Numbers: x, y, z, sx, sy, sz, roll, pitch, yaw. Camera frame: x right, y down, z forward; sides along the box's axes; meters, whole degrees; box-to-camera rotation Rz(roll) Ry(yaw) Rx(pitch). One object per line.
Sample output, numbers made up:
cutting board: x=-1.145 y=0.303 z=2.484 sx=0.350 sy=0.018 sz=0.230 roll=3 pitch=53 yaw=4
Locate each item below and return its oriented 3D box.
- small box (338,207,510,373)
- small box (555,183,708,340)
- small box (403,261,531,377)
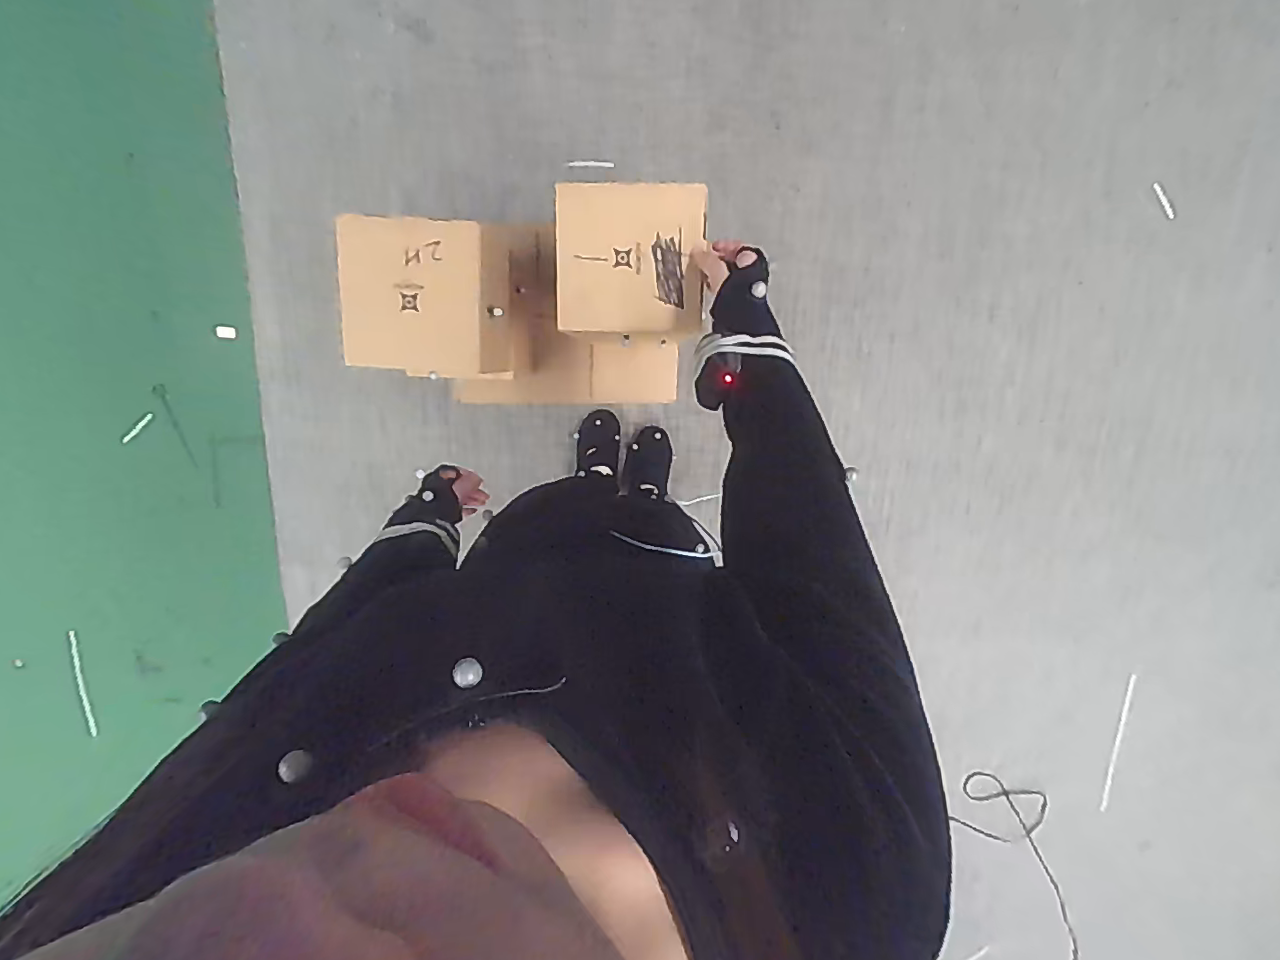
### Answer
small box: x=-0.272 y=-0.240 z=0.716 sx=0.168 sy=0.176 sz=0.179 roll=4 pitch=103 yaw=-3
small box: x=-0.010 y=-0.273 z=0.710 sx=0.179 sy=0.176 sz=0.168 roll=3 pitch=103 yaw=2
small box: x=-0.275 y=-0.264 z=0.879 sx=0.168 sy=0.176 sz=0.179 roll=3 pitch=103 yaw=-2
